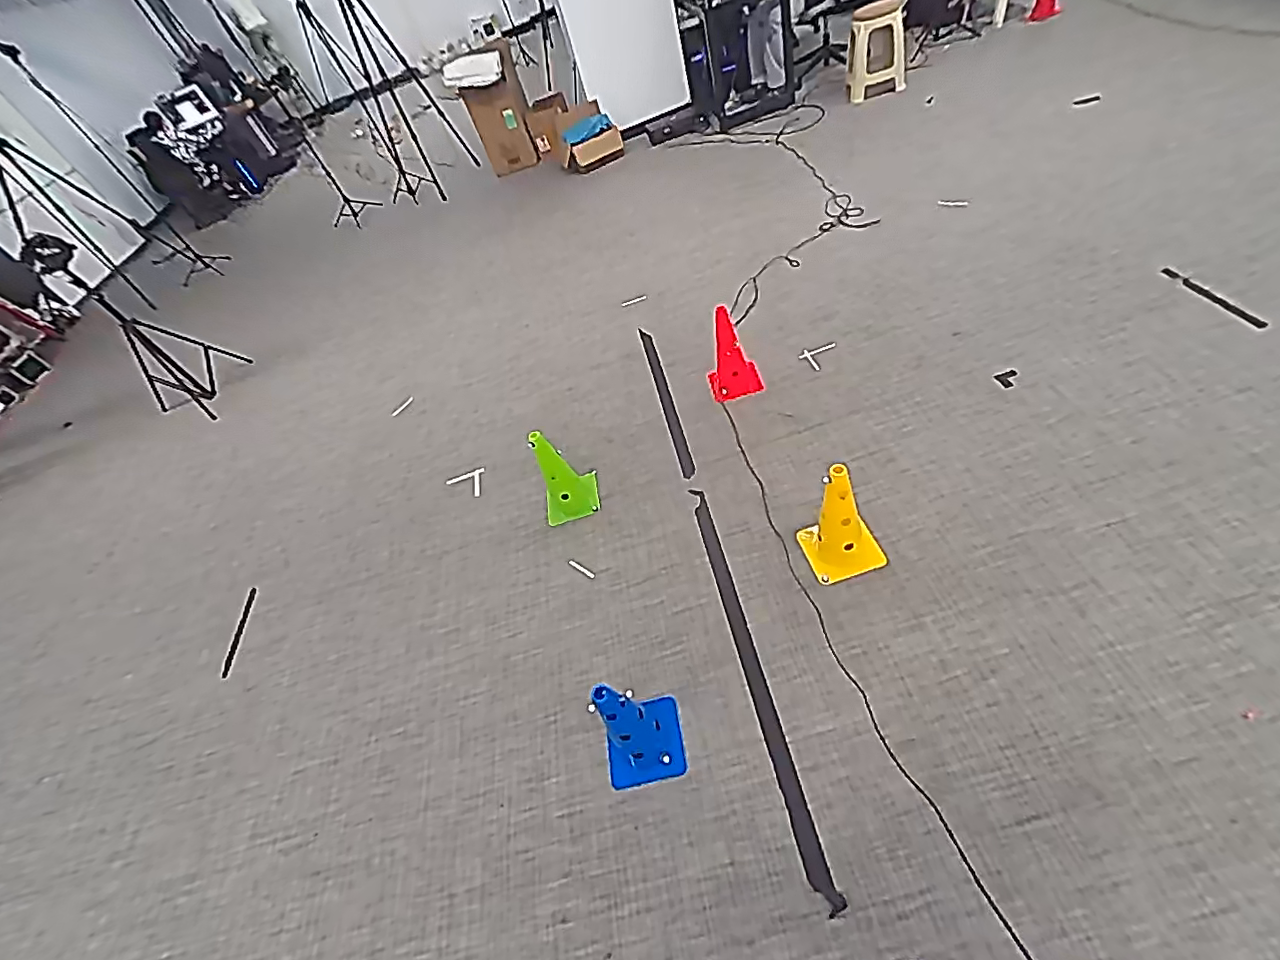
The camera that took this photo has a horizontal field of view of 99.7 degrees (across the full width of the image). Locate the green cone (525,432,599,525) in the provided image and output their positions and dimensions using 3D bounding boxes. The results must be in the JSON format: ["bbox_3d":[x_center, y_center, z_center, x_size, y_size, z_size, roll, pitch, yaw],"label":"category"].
[{"bbox_3d":[-0.307,-0.039,1.916,0.202,0.368,0.200,-19,46,6],"label":"green cone"}]

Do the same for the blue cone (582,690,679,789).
[{"bbox_3d":[-0.045,0.581,1.289,0.192,0.380,0.193,-16,46,9],"label":"blue cone"}]

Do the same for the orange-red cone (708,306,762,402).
[{"bbox_3d":[0.338,-0.507,2.082,0.199,0.360,0.198,-14,48,7],"label":"orange-red cone"}]
